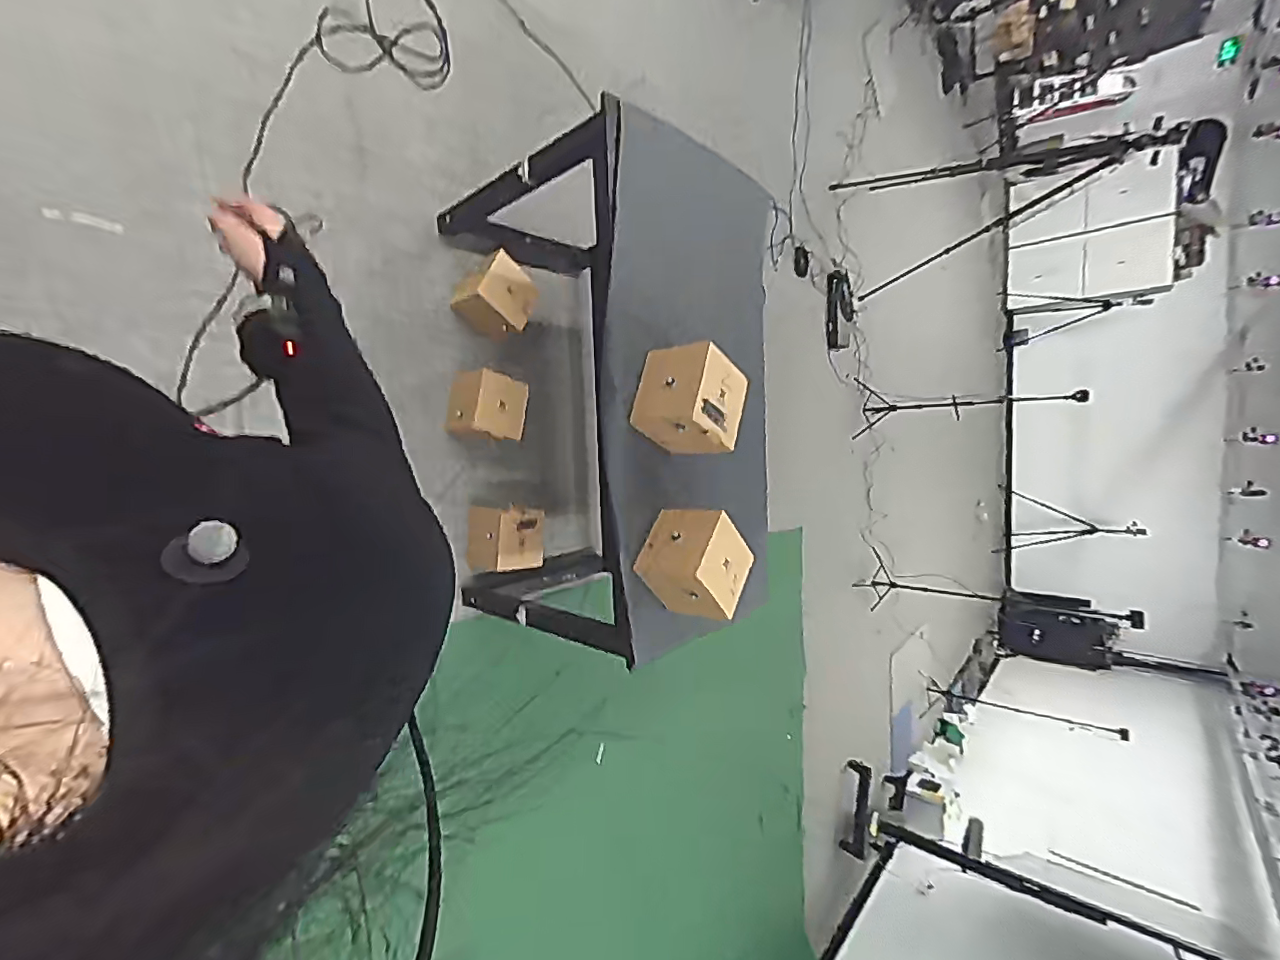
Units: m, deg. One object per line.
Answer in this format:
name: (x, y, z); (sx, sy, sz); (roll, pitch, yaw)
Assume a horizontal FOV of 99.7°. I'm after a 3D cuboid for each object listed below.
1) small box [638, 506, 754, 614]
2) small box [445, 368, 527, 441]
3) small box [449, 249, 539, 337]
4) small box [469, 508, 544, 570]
small box: (0.123, 0.174, 1.190); (0.179, 0.176, 0.168); (53, 51, -34)
small box: (-0.466, -0.219, 1.625); (0.168, 0.176, 0.179); (14, 79, -48)
small box: (-0.446, -0.558, 1.643); (0.179, 0.176, 0.168); (39, 62, -42)
small box: (-0.417, 0.177, 1.684); (0.168, 0.176, 0.179); (1, 91, -47)
